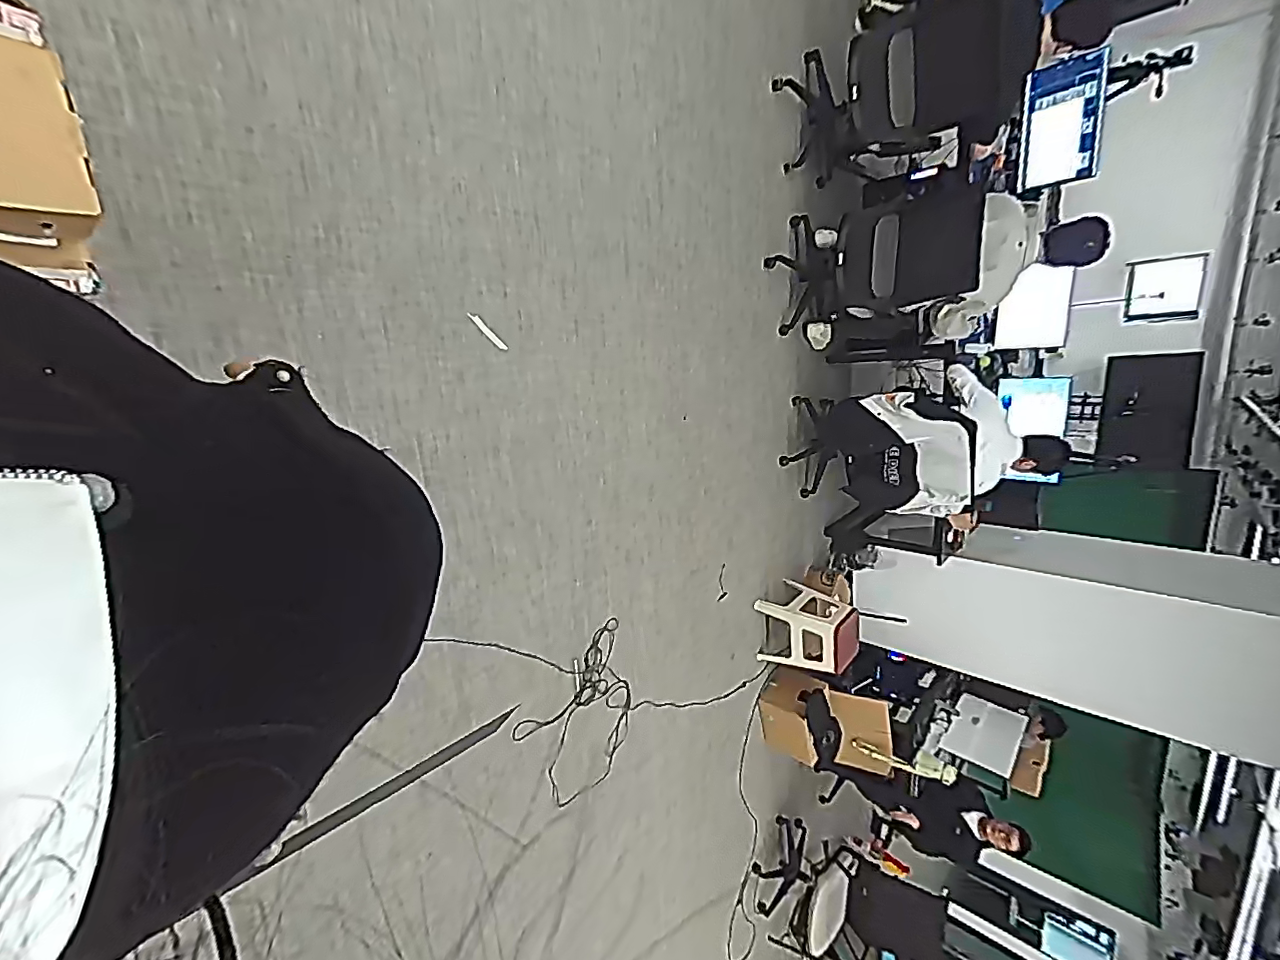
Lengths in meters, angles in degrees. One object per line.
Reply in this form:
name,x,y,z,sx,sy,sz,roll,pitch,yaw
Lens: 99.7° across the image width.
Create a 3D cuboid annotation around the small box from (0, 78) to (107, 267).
small box,-0.740,-0.334,0.596,0.179,0.176,0.168,-20,112,-46
